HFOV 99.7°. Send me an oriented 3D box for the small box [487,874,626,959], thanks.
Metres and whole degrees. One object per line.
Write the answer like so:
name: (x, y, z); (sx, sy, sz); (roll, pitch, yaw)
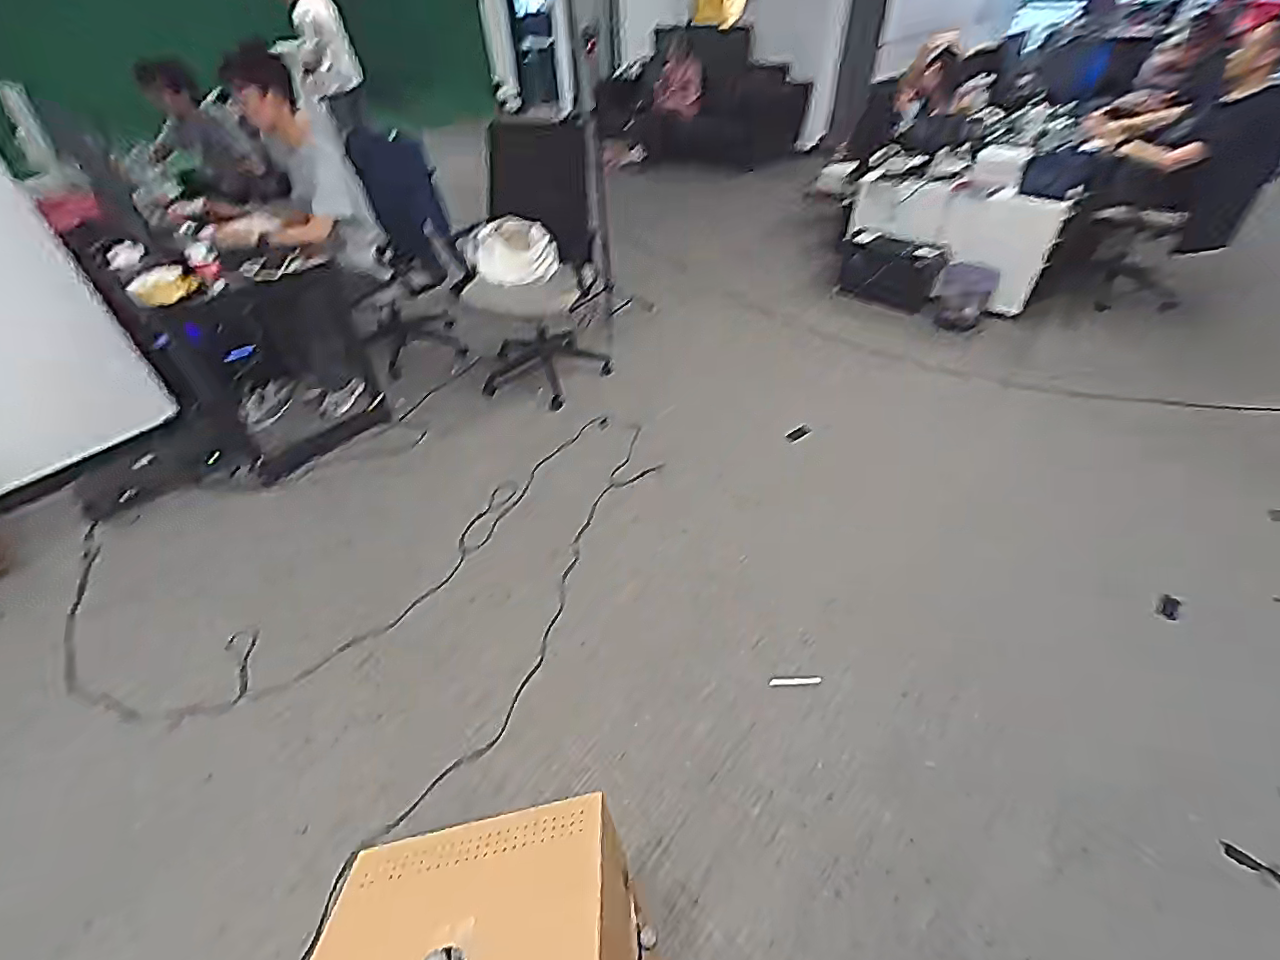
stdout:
small box: (-0.139, 0.814, 0.896); (0.168, 0.176, 0.179); (26, 49, 28)
